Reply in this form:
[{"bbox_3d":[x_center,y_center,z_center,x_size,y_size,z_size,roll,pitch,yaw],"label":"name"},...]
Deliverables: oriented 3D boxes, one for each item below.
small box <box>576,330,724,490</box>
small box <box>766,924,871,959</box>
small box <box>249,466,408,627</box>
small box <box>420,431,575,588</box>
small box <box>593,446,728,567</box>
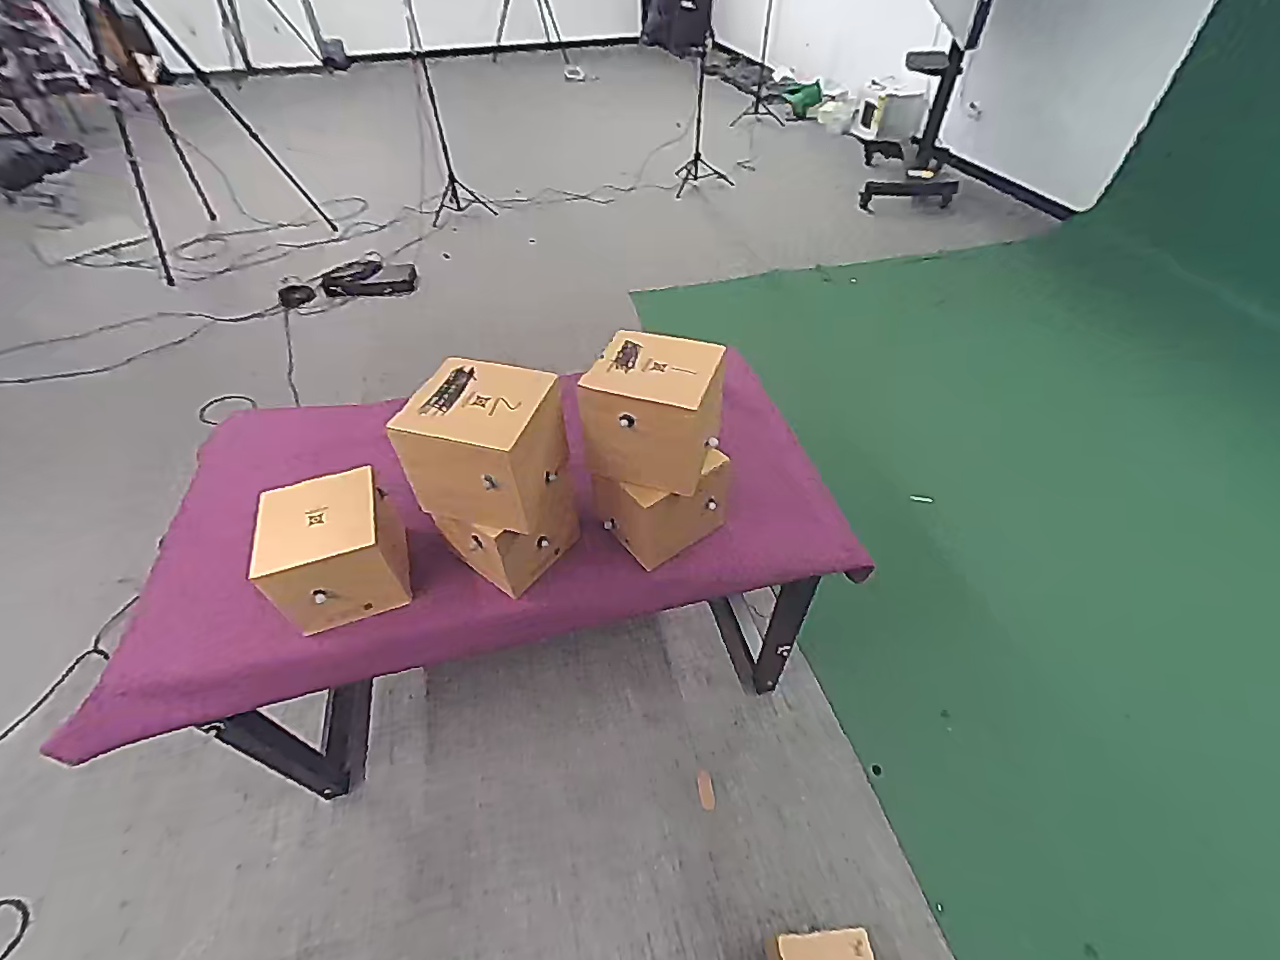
[{"bbox_3d":[0.020,-0.106,0.833,0.179,0.176,0.168,14,47,15],"label":"small box"},{"bbox_3d":[0.348,0.974,1.042,0.179,0.176,0.168,-4,48,-2],"label":"small box"},{"bbox_3d":[-0.481,0.111,0.860,0.168,0.176,0.179,-16,47,-14],"label":"small box"},{"bbox_3d":[-0.227,0.055,0.907,0.179,0.176,0.168,28,53,25],"label":"small box"},{"bbox_3d":[0.028,0.015,0.943,0.179,0.176,0.168,-29,51,-23],"label":"small box"}]
